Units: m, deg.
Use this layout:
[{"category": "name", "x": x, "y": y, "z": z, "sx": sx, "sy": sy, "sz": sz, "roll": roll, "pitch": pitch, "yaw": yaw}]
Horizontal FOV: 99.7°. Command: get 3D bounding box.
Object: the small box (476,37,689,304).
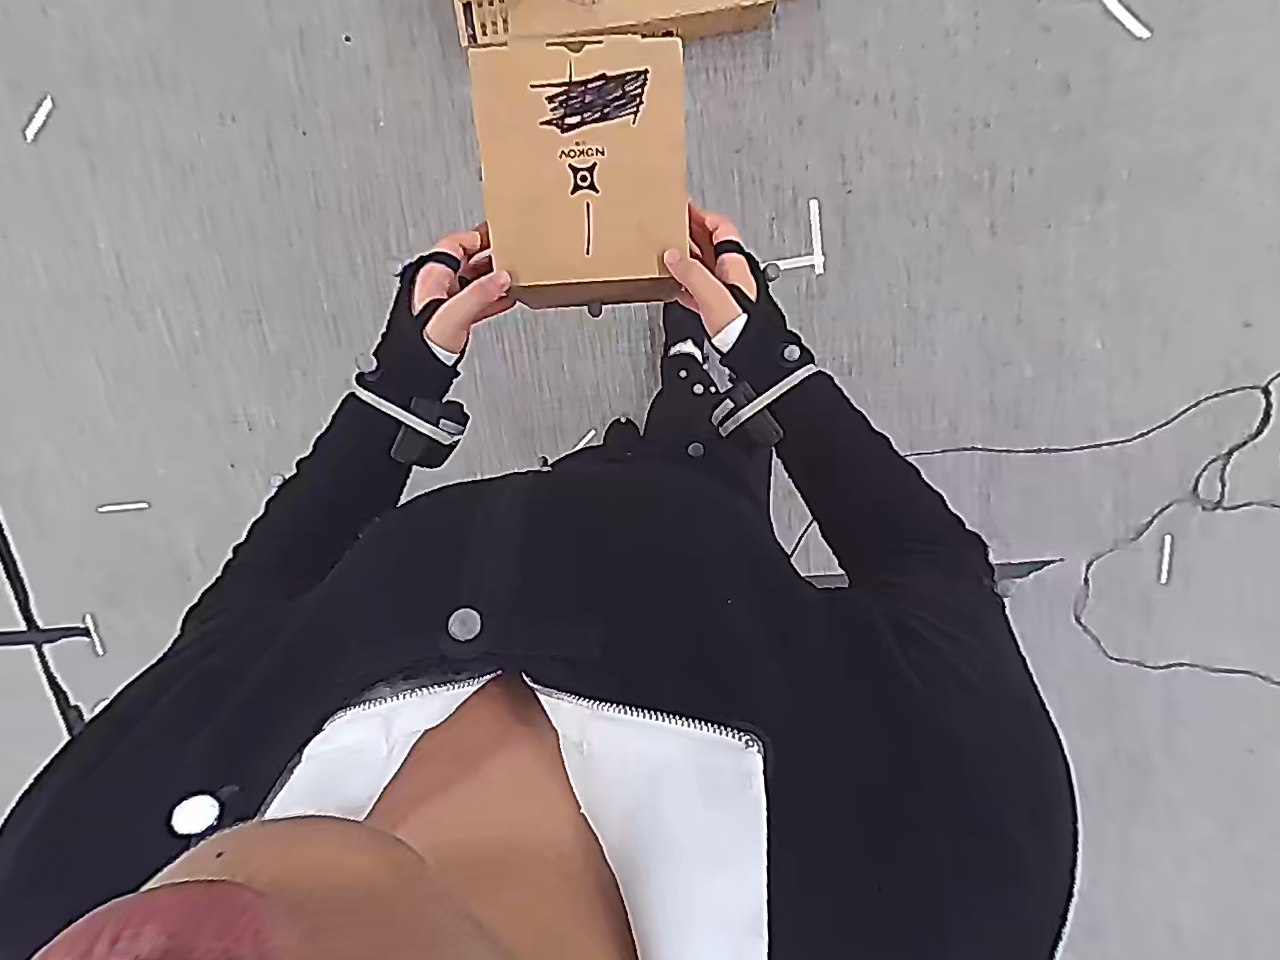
[{"category": "small box", "x": -0.046, "y": -0.272, "z": 0.513, "sx": 0.168, "sy": 0.176, "sz": 0.179, "roll": -3, "pitch": 102, "yaw": 0}]
